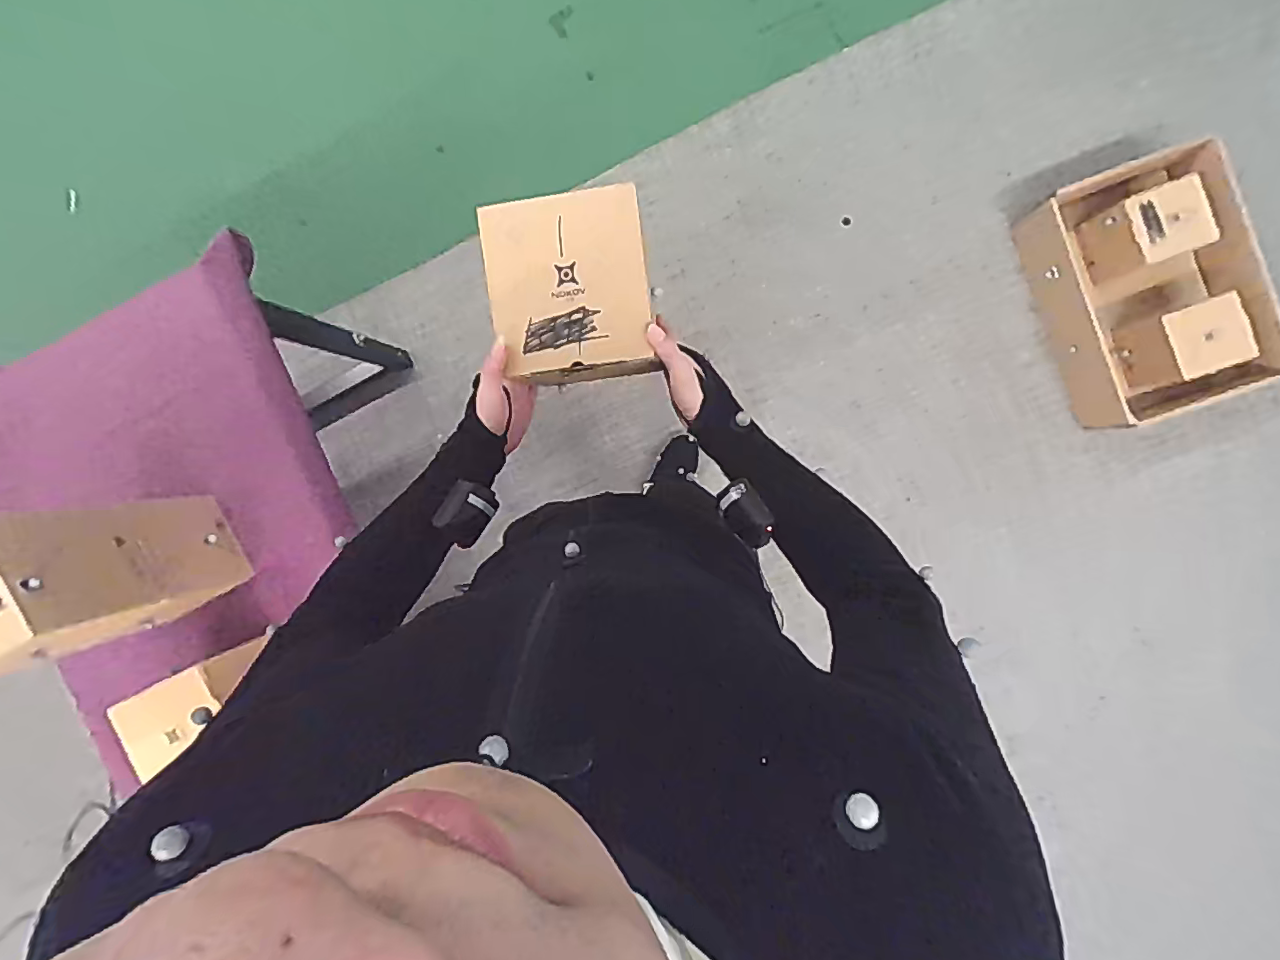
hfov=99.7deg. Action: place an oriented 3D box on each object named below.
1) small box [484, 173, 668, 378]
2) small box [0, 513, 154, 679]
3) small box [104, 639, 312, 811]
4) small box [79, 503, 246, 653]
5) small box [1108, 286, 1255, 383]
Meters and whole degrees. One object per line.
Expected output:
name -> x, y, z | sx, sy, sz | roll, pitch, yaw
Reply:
small box -> -0.059, -0.213, 0.618 | 0.168, 0.176, 0.179 | -7, 96, 5
small box -> -0.824, 0.159, 0.721 | 0.179, 0.176, 0.168 | -29, 91, 6
small box -> -0.694, 0.390, 0.889 | 0.179, 0.176, 0.168 | -27, 90, 5
small box -> -0.809, 0.151, 0.885 | 0.179, 0.176, 0.168 | -28, 91, 5
small box -> 1.347, -0.357, 1.357 | 0.179, 0.176, 0.168 | -20, 90, 6
